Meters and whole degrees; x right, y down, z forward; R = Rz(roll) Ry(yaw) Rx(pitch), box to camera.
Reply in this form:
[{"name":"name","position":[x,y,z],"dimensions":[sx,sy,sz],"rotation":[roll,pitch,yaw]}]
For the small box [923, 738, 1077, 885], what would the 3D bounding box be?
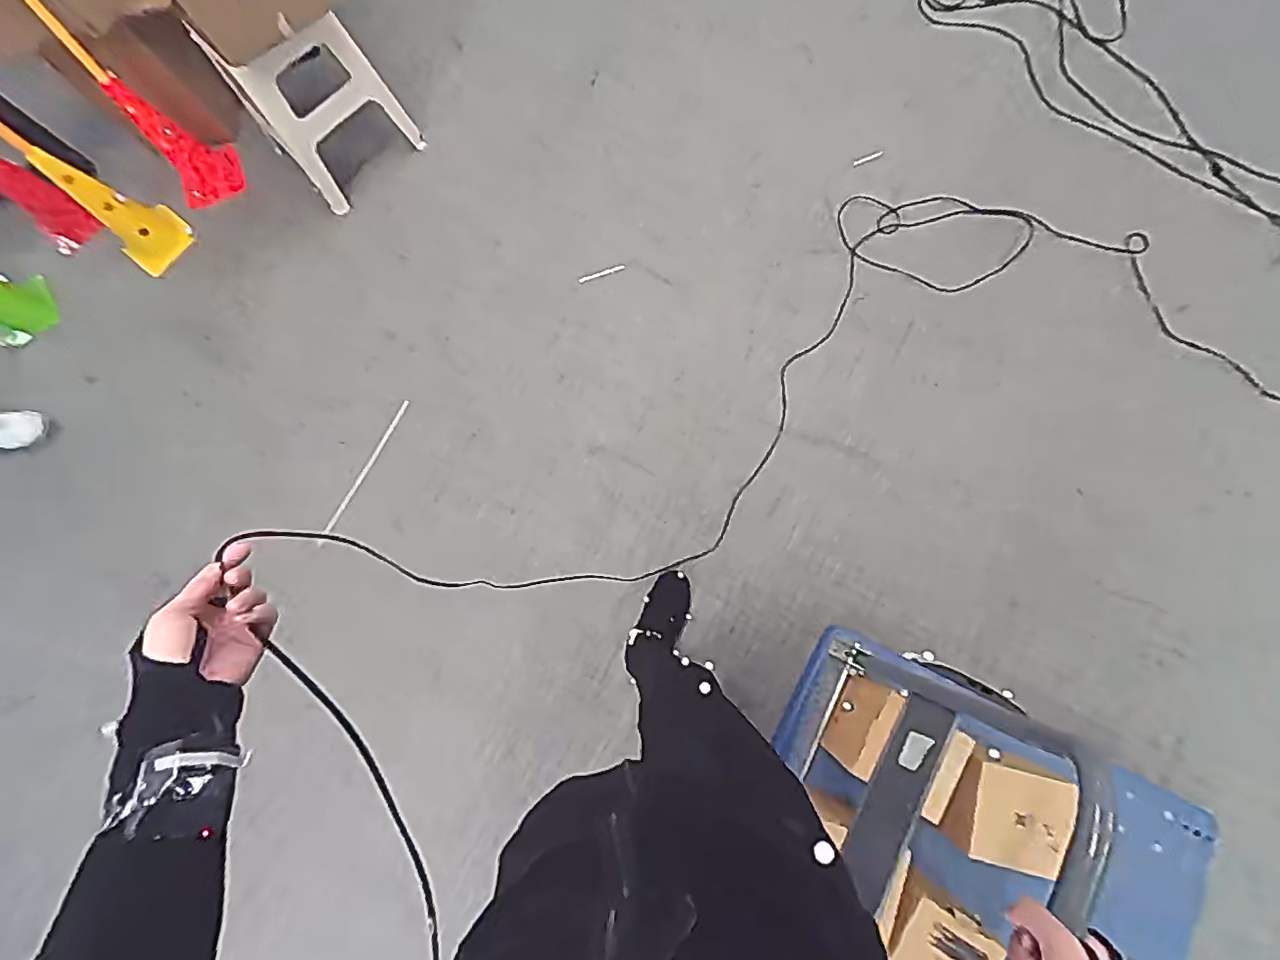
[{"name":"small box","position":[0.672,0.614,1.028],"dimensions":[0.179,0.176,0.168],"rotation":[15,82,3]}]
